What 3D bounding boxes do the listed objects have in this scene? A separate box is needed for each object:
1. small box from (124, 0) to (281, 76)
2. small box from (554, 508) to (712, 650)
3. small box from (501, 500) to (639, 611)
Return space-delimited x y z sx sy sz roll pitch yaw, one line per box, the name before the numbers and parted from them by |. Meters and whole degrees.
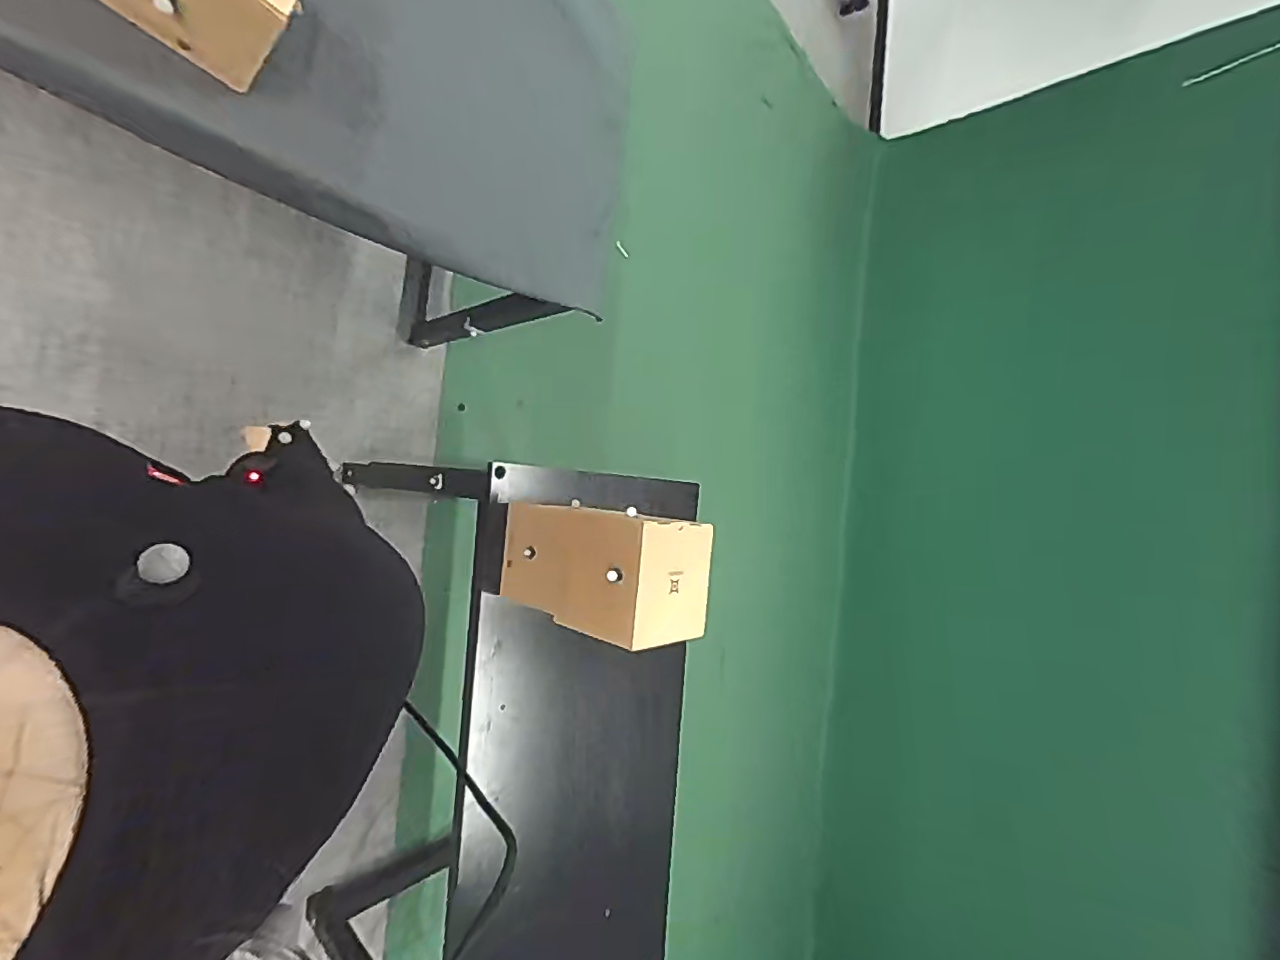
small box | -0.444 -0.562 0.535 0.168 0.176 0.179 21 77 -46
small box | -0.013 0.141 0.824 0.168 0.176 0.179 7 88 -47
small box | -0.122 0.126 0.945 0.179 0.176 0.168 7 89 -48
